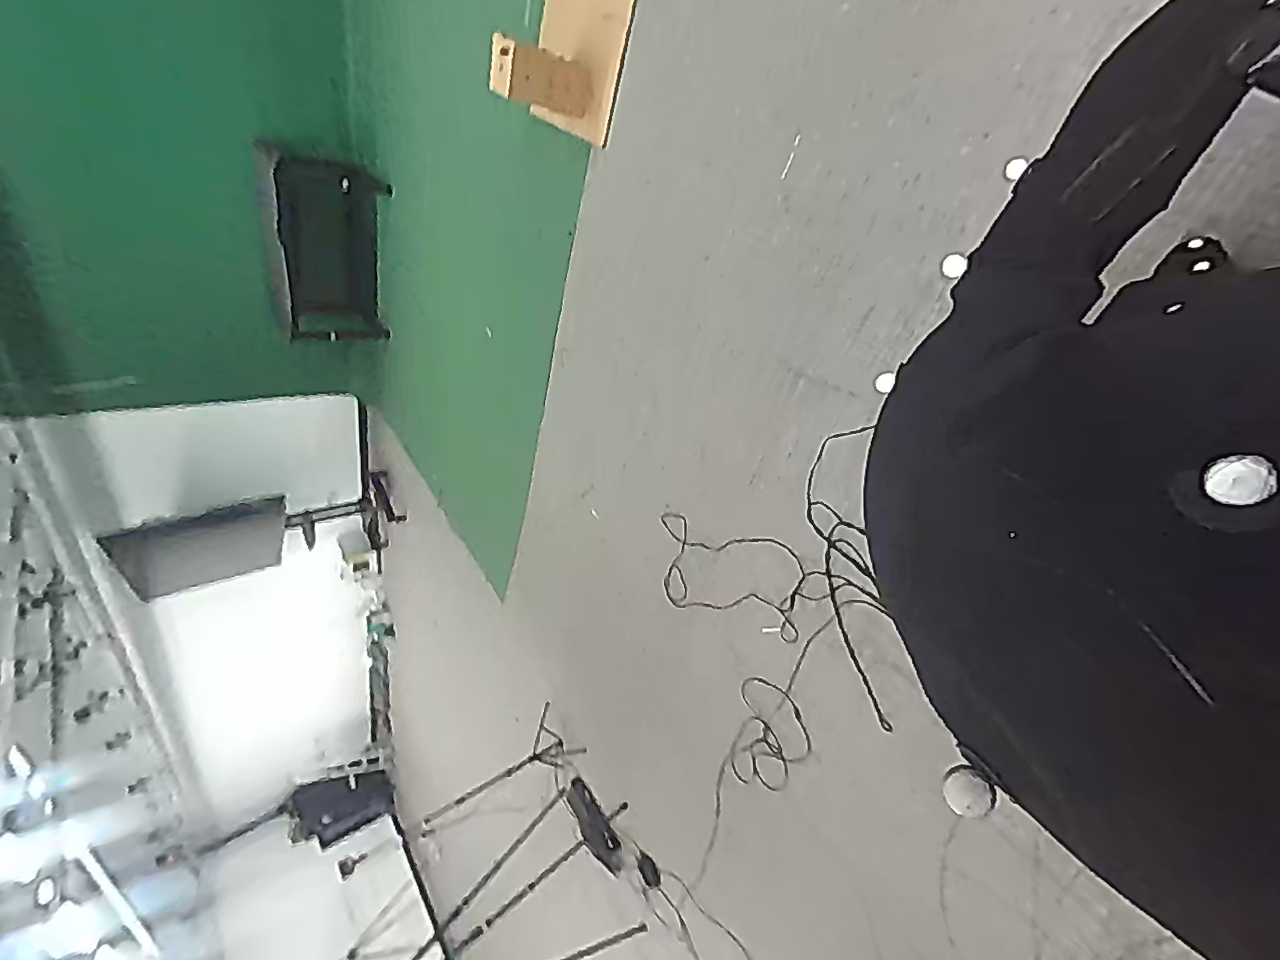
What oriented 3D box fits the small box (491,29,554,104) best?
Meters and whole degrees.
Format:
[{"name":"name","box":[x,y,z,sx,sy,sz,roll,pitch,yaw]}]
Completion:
[{"name":"small box","box":[-0.446,-1.571,2.058,0.168,0.176,0.179,48,136,30]}]
